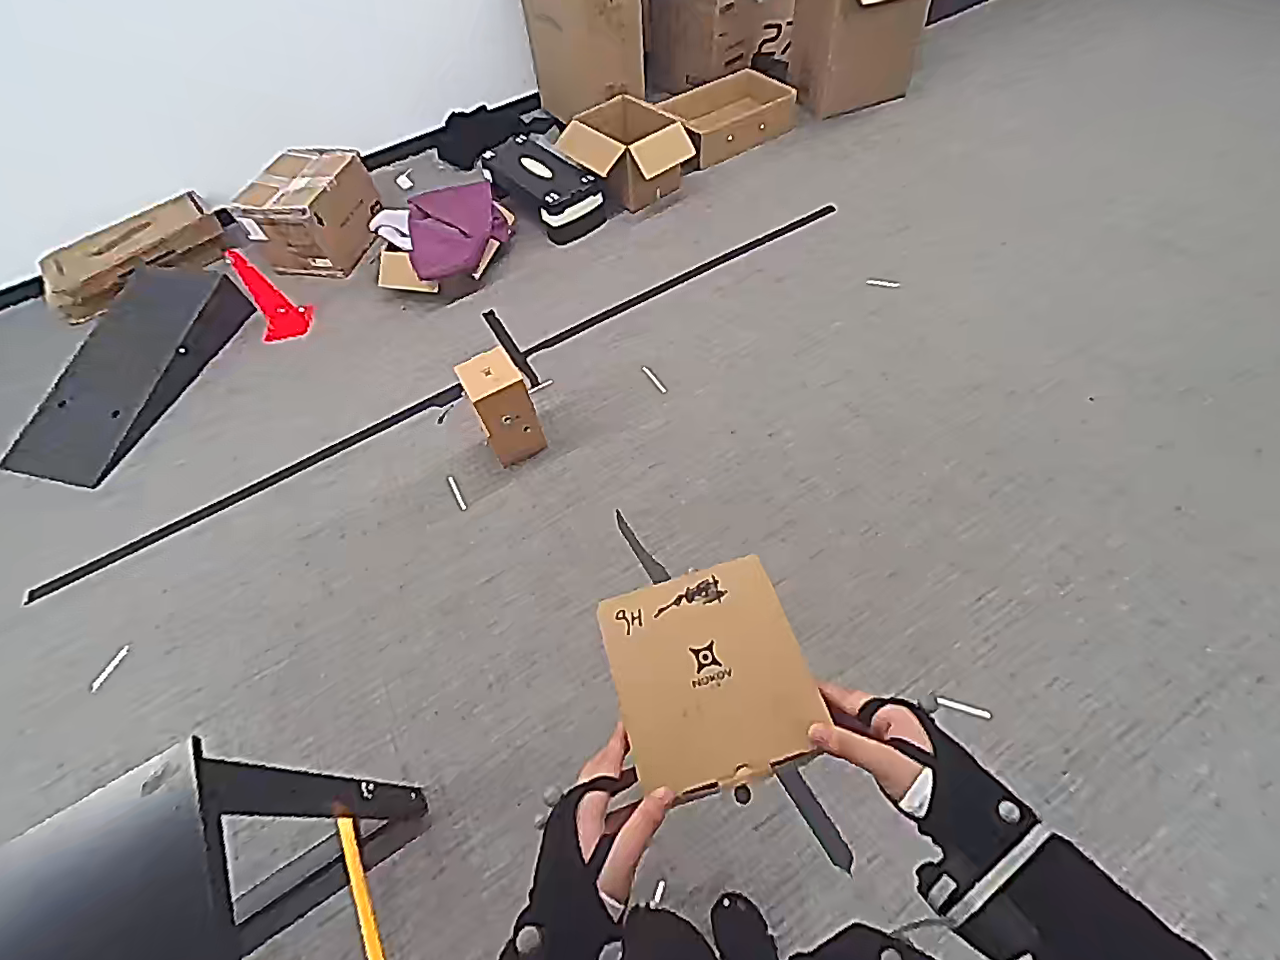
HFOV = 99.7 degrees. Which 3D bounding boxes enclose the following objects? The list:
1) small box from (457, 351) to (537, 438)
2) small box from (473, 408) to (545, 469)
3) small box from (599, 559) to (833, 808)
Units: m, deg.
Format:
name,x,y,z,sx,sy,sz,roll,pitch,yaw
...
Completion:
name,x,y,z,sx,sy,sz,roll,pitch,yaw
small box,-0.446,-0.265,1.698,0.168,0.176,0.179,-29,60,-11
small box,-0.434,-0.170,1.830,0.179,0.176,0.168,-28,58,-11
small box,0.069,0.209,0.547,0.168,0.176,0.179,-17,59,-3
